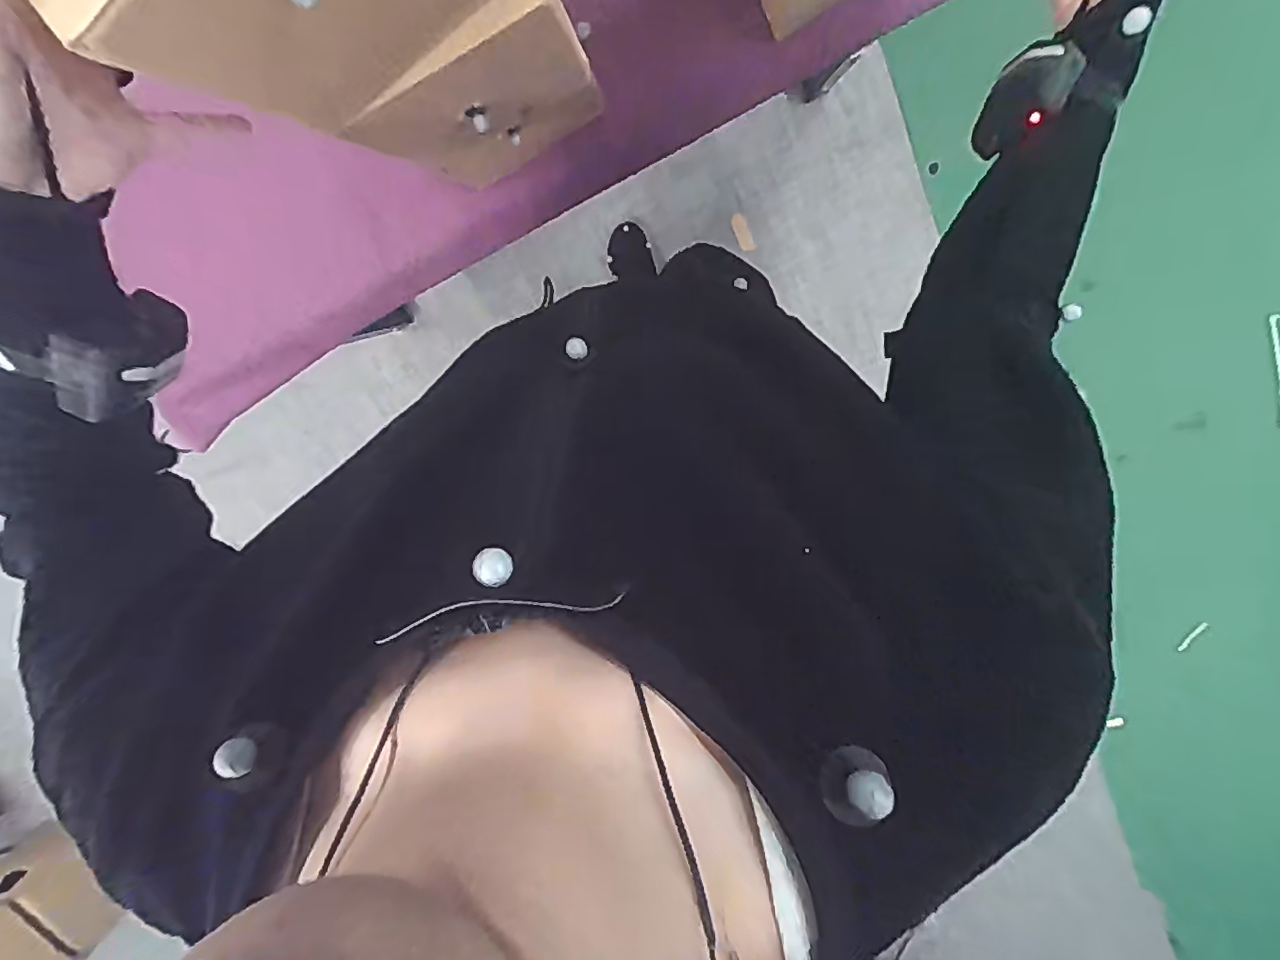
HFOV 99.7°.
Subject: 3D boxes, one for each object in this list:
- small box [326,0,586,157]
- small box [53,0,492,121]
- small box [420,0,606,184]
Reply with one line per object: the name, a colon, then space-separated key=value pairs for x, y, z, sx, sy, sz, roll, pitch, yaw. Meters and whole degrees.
small box: x=-0.153 y=-0.356 z=0.382 sx=0.168 sy=0.176 sz=0.179 roll=-21 pitch=110 yaw=12
small box: x=-0.168 y=-0.297 z=0.231 sx=0.179 sy=0.176 sz=0.168 roll=-27 pitch=109 yaw=16
small box: x=-0.150 y=-0.420 z=0.533 sx=0.179 sy=0.176 sz=0.168 roll=-24 pitch=109 yaw=12
